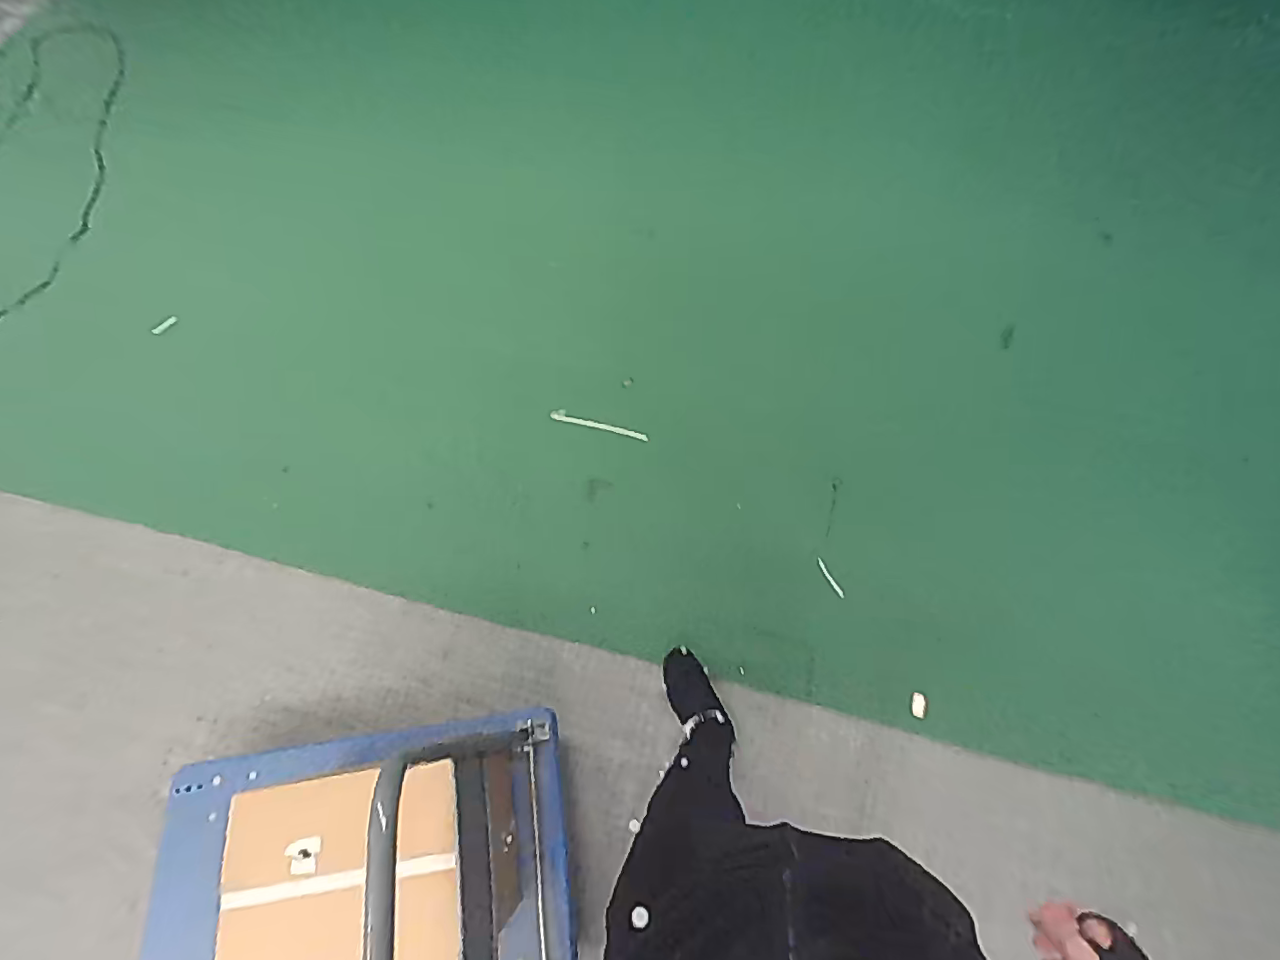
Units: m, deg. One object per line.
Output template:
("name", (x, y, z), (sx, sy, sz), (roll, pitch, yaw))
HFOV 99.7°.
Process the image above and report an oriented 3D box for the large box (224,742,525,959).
("large box", (-0.462, 0.710, 1.019), (0.408, 0.320, 0.320), (-10, 67, -1))
